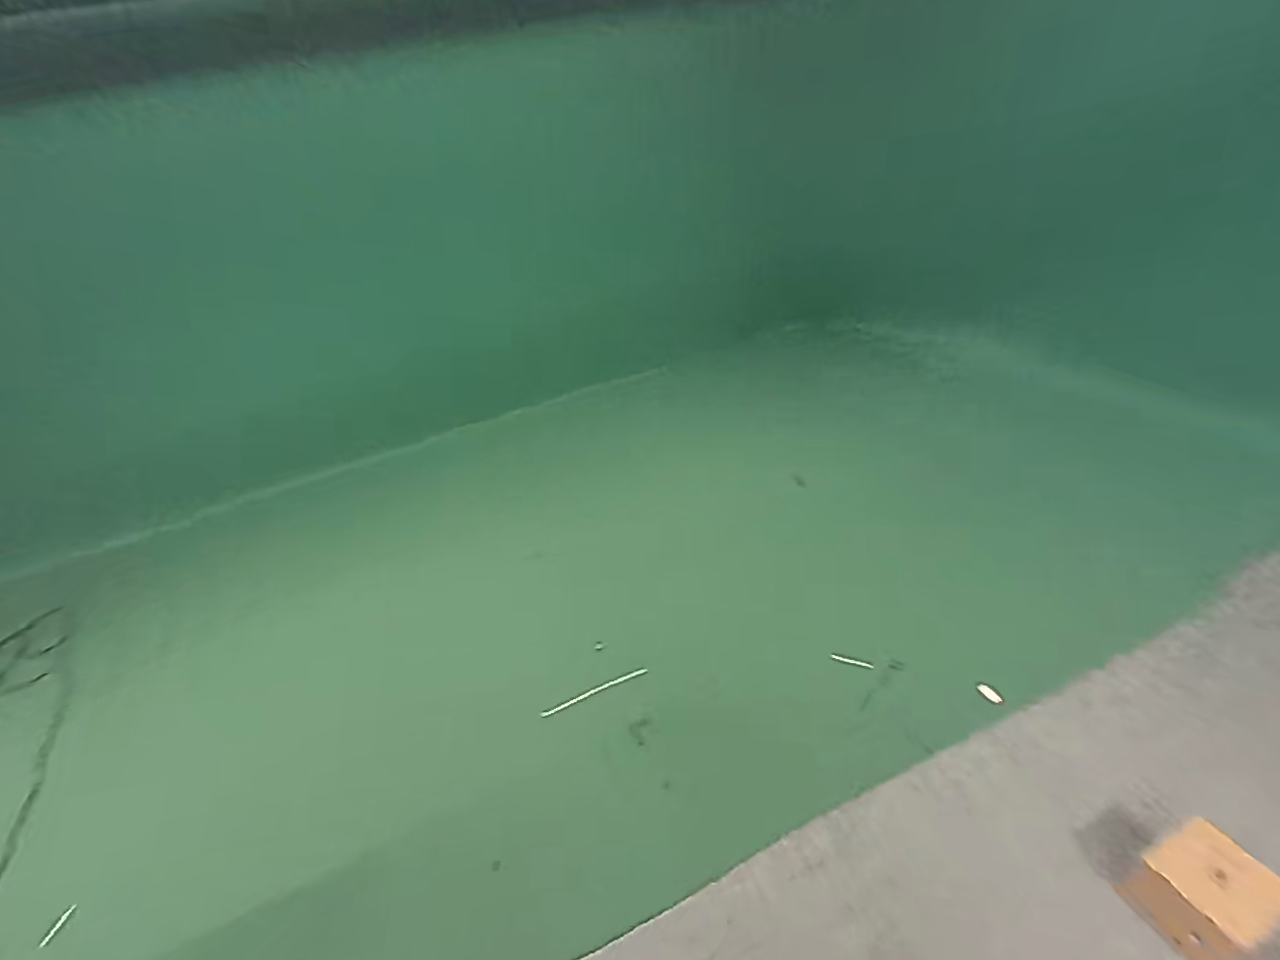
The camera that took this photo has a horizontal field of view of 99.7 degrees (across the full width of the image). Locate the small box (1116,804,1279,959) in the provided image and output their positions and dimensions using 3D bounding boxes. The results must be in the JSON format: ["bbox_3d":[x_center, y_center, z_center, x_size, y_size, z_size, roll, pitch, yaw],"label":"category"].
[{"bbox_3d":[1.115,0.811,1.090,0.179,0.176,0.168,-21,35,-14],"label":"small box"}]
